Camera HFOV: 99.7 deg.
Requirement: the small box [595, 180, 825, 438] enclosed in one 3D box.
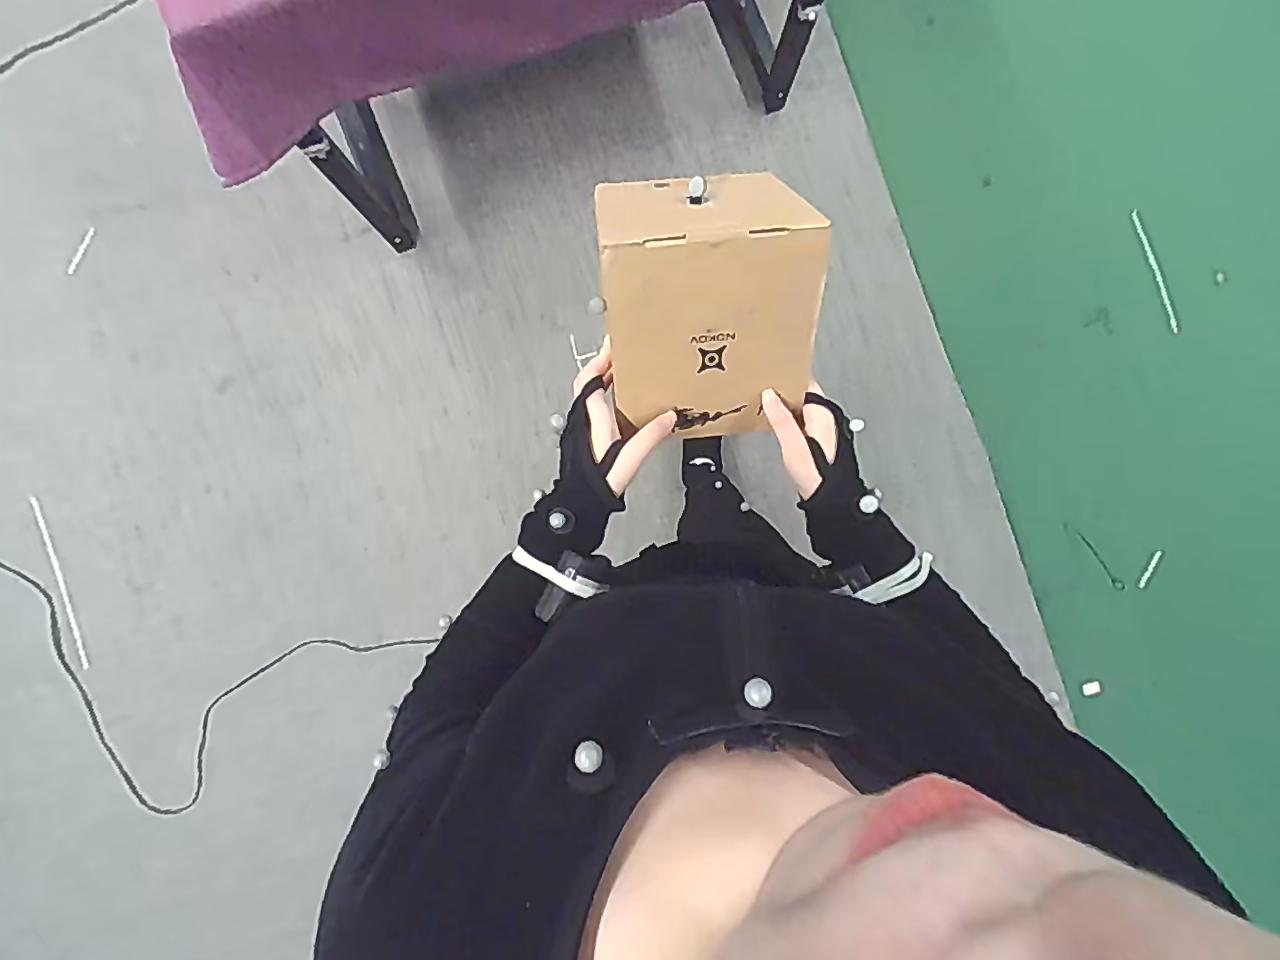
[{"bbox_3d":[0.048,-0.162,0.494,0.168,0.176,0.179,-5,131,-2],"label":"small box"}]
